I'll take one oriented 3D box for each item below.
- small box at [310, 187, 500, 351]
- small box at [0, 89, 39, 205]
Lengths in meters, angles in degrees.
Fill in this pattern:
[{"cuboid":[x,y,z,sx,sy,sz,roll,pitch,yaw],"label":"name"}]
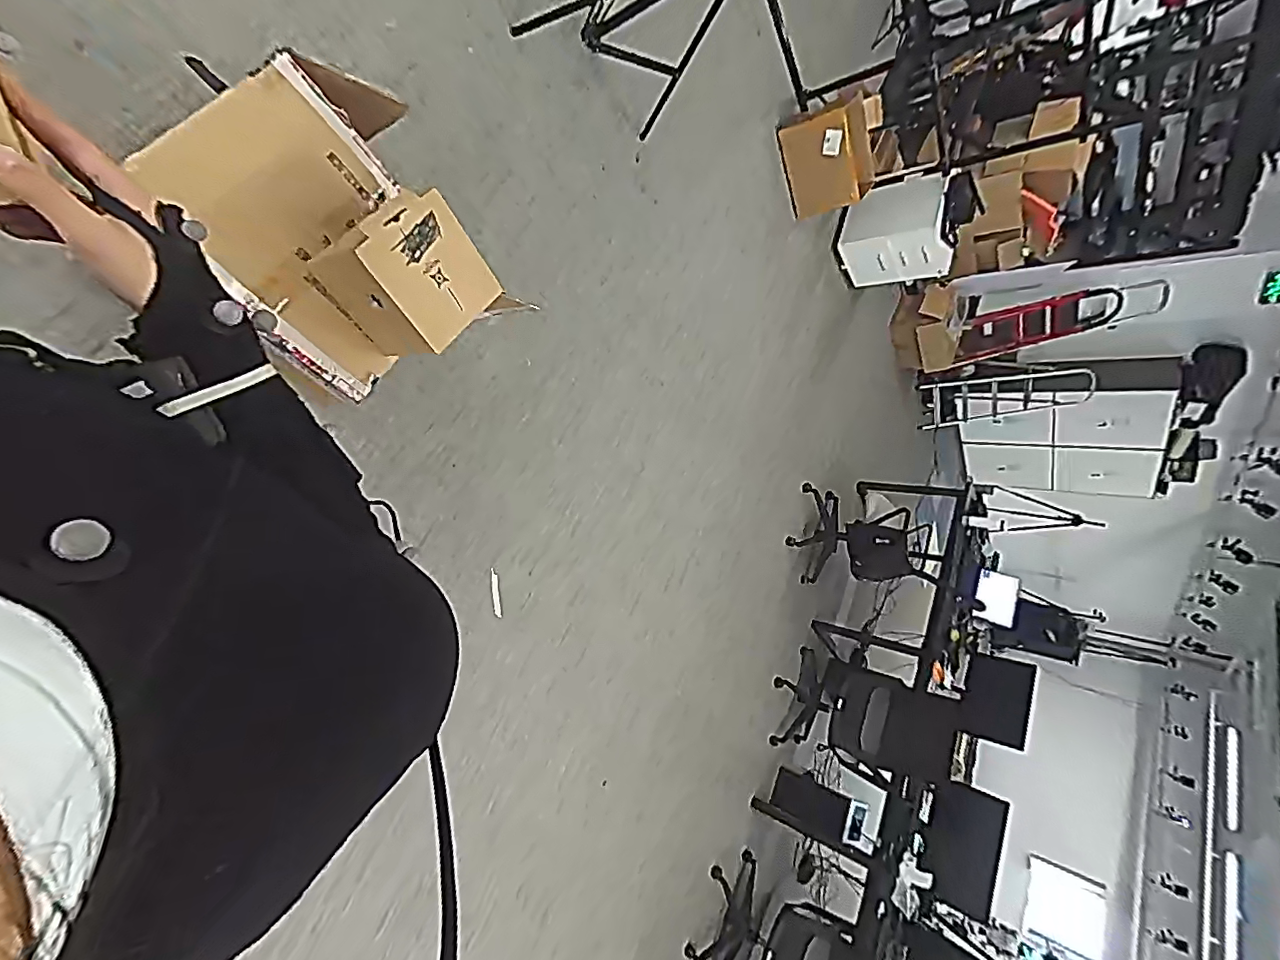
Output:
[{"cuboid":[-0.363,-0.315,0.838,0.168,0.176,0.179,-56,136,-26],"label":"small box"},{"cuboid":[-0.437,-0.229,0.247,0.179,0.176,0.168,-22,131,-37],"label":"small box"}]
